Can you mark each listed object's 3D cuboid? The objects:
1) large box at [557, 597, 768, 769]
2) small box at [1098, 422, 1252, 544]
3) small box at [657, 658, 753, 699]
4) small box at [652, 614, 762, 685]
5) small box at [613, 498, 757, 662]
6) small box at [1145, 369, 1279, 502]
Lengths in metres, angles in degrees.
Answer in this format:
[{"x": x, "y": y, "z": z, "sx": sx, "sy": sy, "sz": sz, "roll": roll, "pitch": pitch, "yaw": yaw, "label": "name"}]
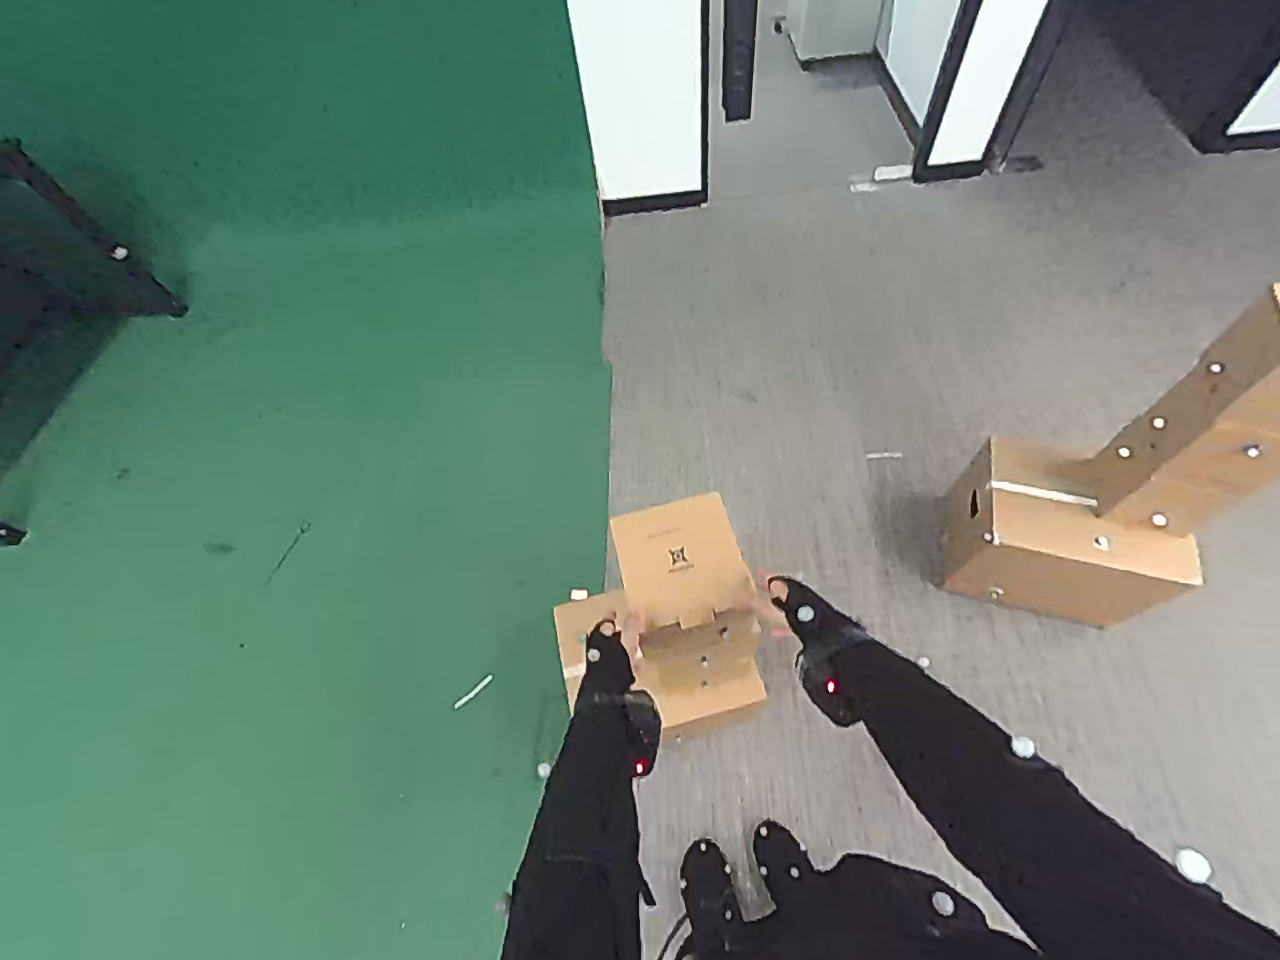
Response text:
[{"x": 0.053, "y": 0.462, "z": 1.288, "sx": 0.408, "sy": 0.320, "sz": 0.320, "roll": -15, "pitch": 56, "yaw": -1, "label": "large box"}, {"x": 1.121, "y": 0.008, "z": 1.153, "sx": 0.168, "sy": 0.176, "sz": 0.179, "roll": 13, "pitch": 59, "yaw": 15, "label": "small box"}, {"x": 0.113, "y": 0.325, "z": 1.076, "sx": 0.179, "sy": 0.176, "sz": 0.168, "roll": -11, "pitch": 57, "yaw": 0, "label": "small box"}, {"x": 0.096, "y": 0.239, "z": 0.936, "sx": 0.179, "sy": 0.176, "sz": 0.168, "roll": -15, "pitch": 57, "yaw": -1, "label": "small box"}, {"x": 0.066, "y": 0.156, "z": 0.799, "sx": 0.168, "sy": 0.176, "sz": 0.179, "roll": -14, "pitch": 57, "yaw": -1, "label": "small box"}, {"x": 1.114, "y": -0.079, "z": 1.017, "sx": 0.179, "sy": 0.176, "sz": 0.168, "roll": 14, "pitch": 59, "yaw": 16, "label": "small box"}]
